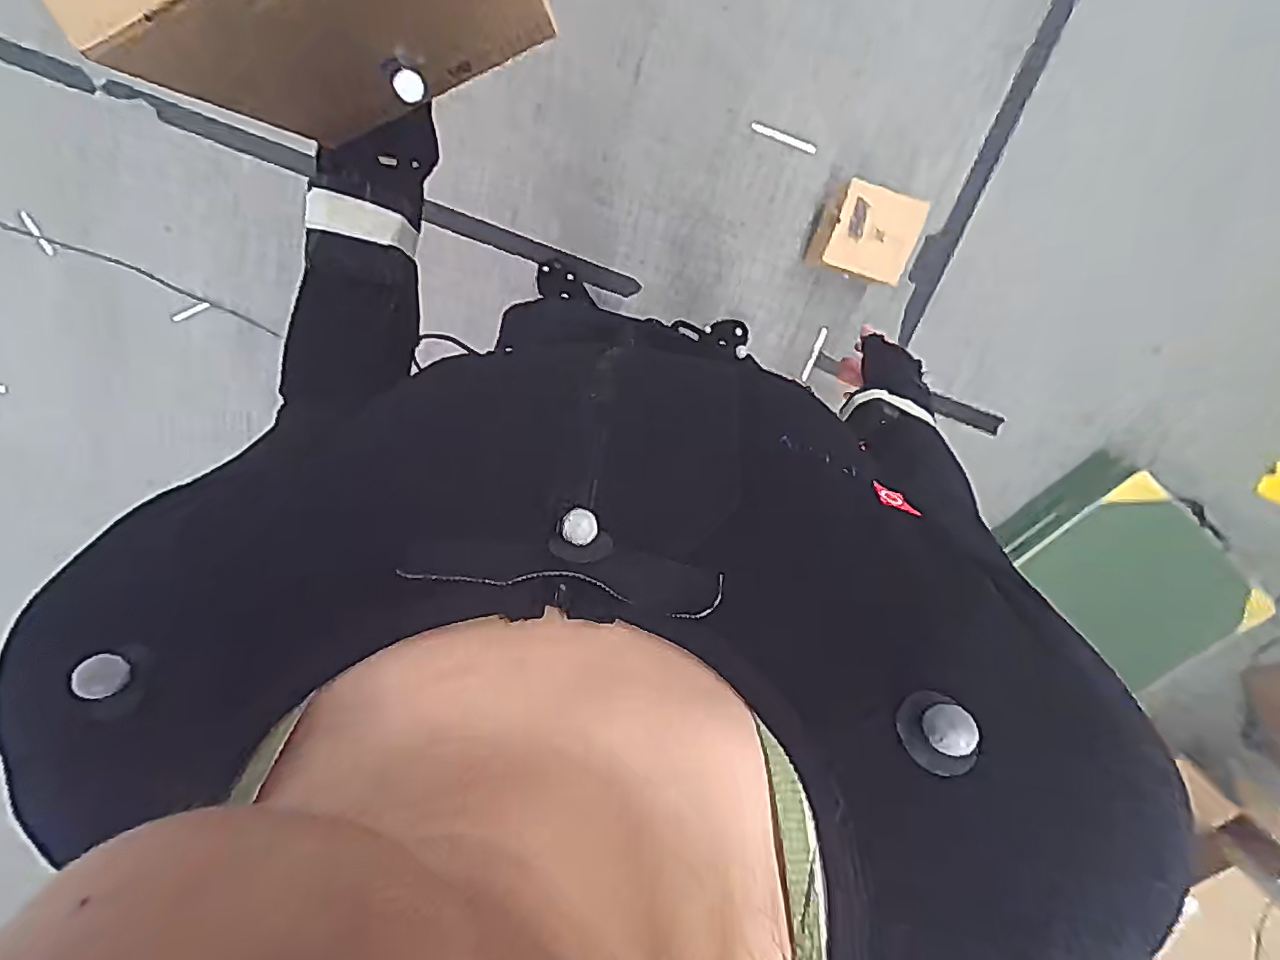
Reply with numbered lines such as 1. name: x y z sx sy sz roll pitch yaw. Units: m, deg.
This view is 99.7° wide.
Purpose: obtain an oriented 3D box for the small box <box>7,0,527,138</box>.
1. small box: -0.171 -0.286 0.239 0.168 0.176 0.179 -15 112 10

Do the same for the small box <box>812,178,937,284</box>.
1. small box: 0.505 -0.542 1.200 0.179 0.176 0.168 17 111 -4
